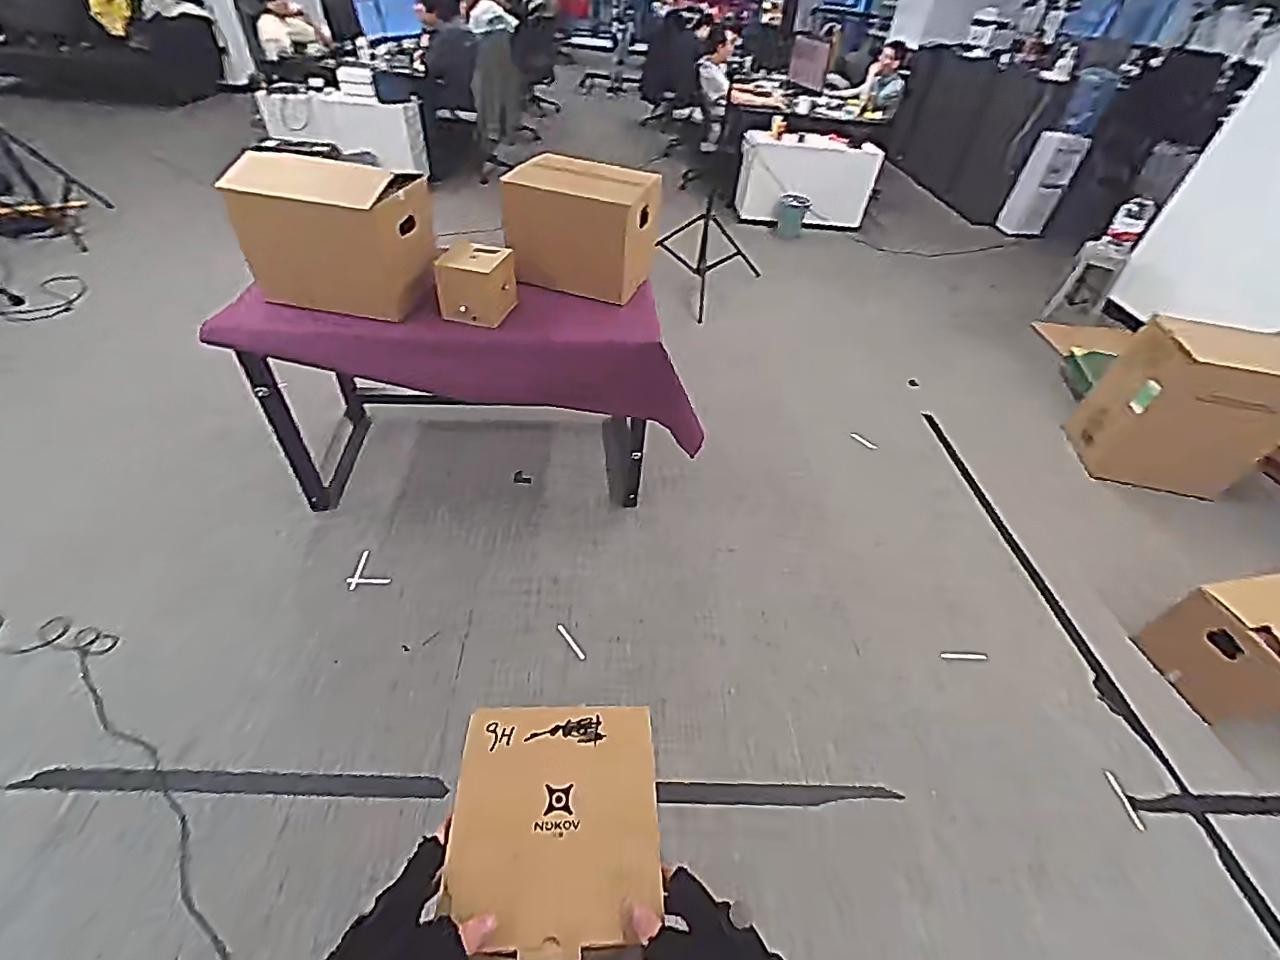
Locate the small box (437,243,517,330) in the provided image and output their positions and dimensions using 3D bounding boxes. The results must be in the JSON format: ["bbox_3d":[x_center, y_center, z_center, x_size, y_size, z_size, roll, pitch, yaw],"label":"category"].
[{"bbox_3d":[-0.463,-0.561,1.570,0.168,0.176,0.179,12,44,6],"label":"small box"}]

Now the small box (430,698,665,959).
[{"bbox_3d":[-0.073,0.318,0.485,0.168,0.176,0.179,1,43,-6],"label":"small box"}]
